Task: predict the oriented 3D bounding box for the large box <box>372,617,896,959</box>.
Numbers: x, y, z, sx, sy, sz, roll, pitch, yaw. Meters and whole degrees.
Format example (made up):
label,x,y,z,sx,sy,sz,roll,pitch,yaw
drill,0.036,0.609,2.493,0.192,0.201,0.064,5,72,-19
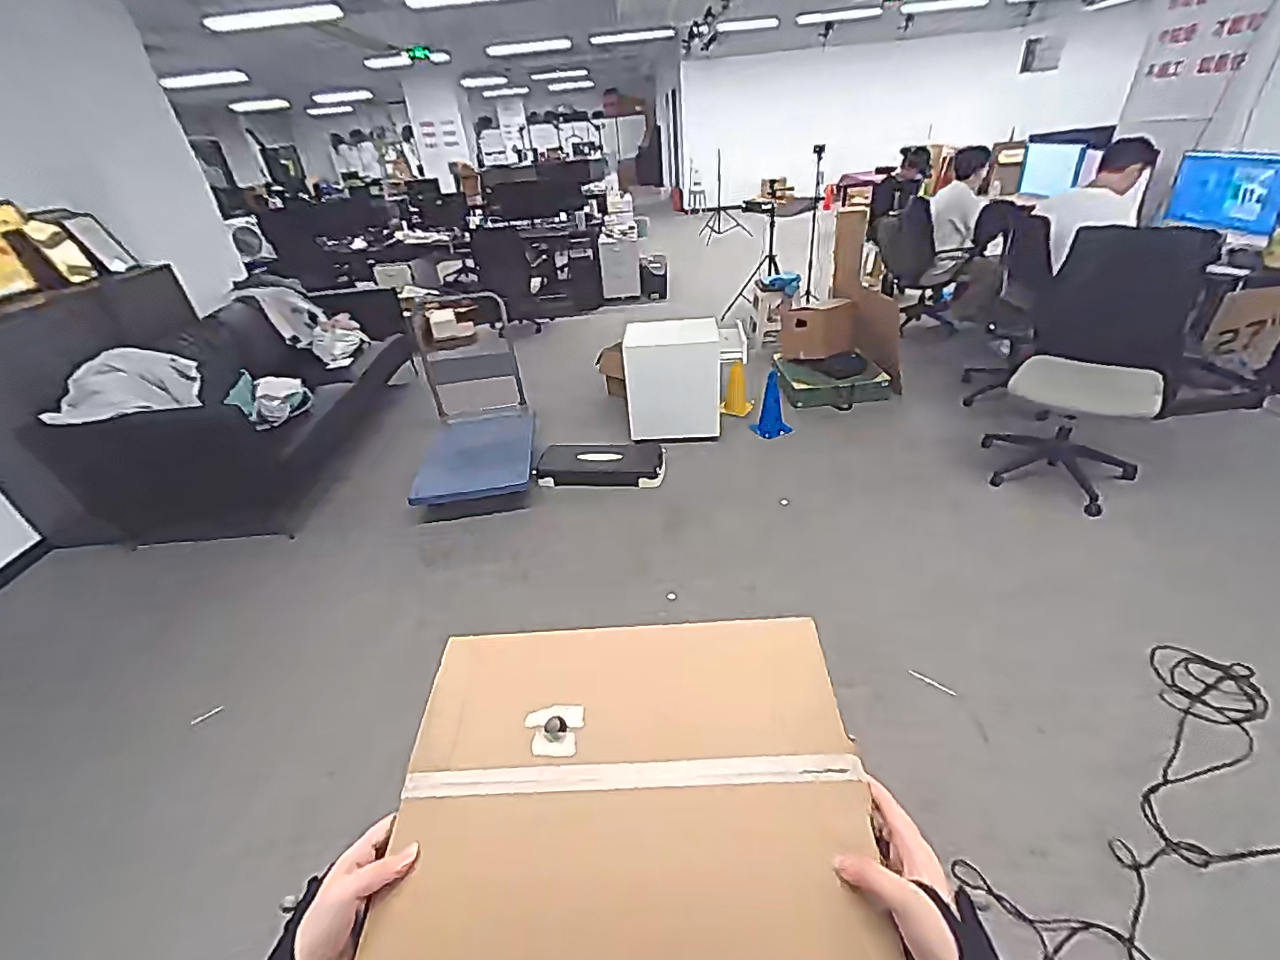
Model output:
label,x,y,z,sx,sy,sz,roll,pitch,yaw
large box,0.006,0.381,0.595,0.408,0.320,0.320,-6,41,5
